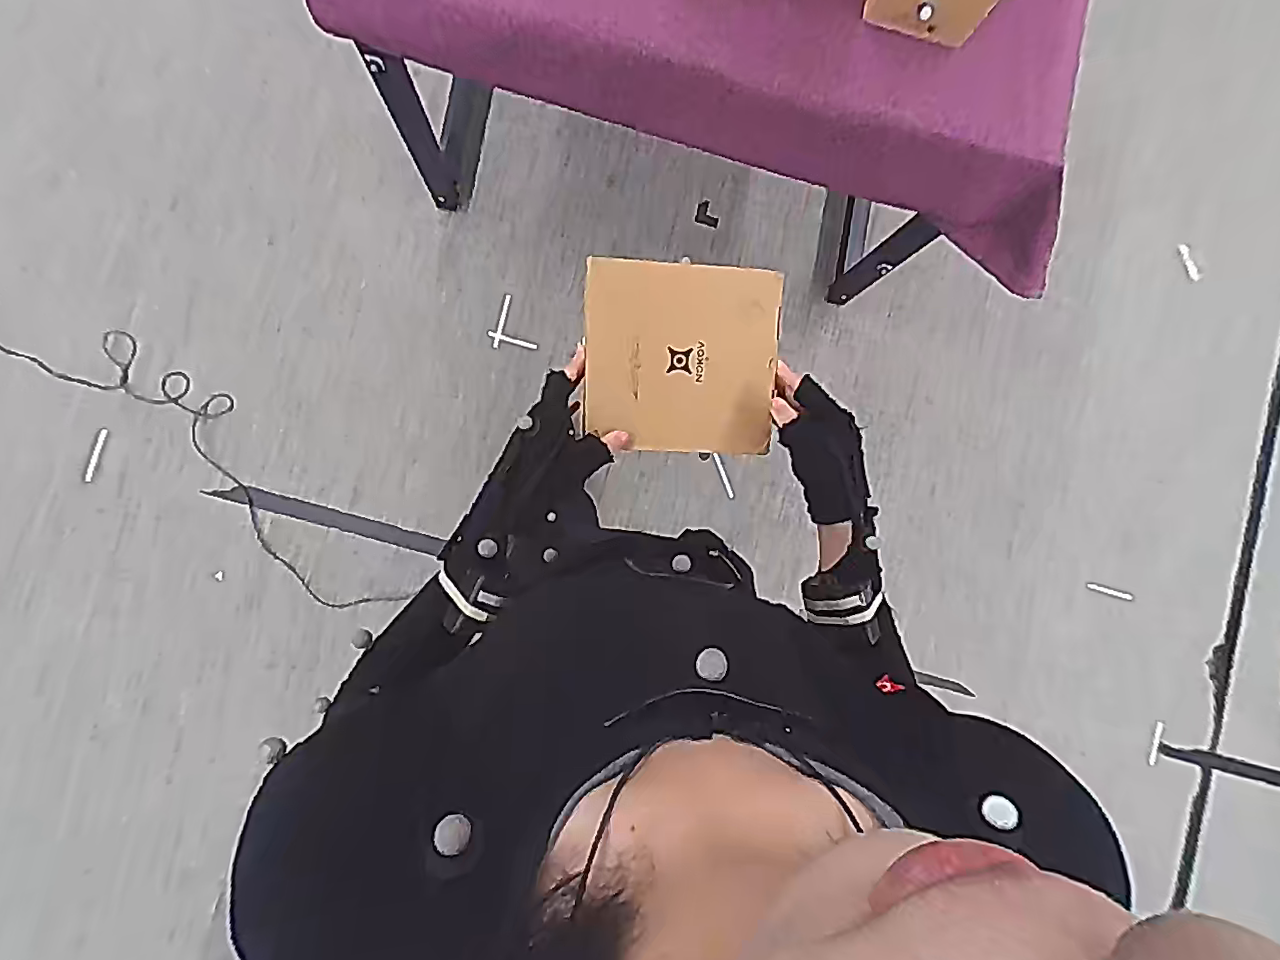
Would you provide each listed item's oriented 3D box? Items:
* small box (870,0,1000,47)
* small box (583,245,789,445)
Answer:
[{"bbox_3d":[0.455,-0.786,0.775,0.168,0.176,0.179,11,88,-5],"label":"small box"},{"bbox_3d":[0.033,-0.127,0.552,0.179,0.176,0.168,1,98,-6],"label":"small box"}]
